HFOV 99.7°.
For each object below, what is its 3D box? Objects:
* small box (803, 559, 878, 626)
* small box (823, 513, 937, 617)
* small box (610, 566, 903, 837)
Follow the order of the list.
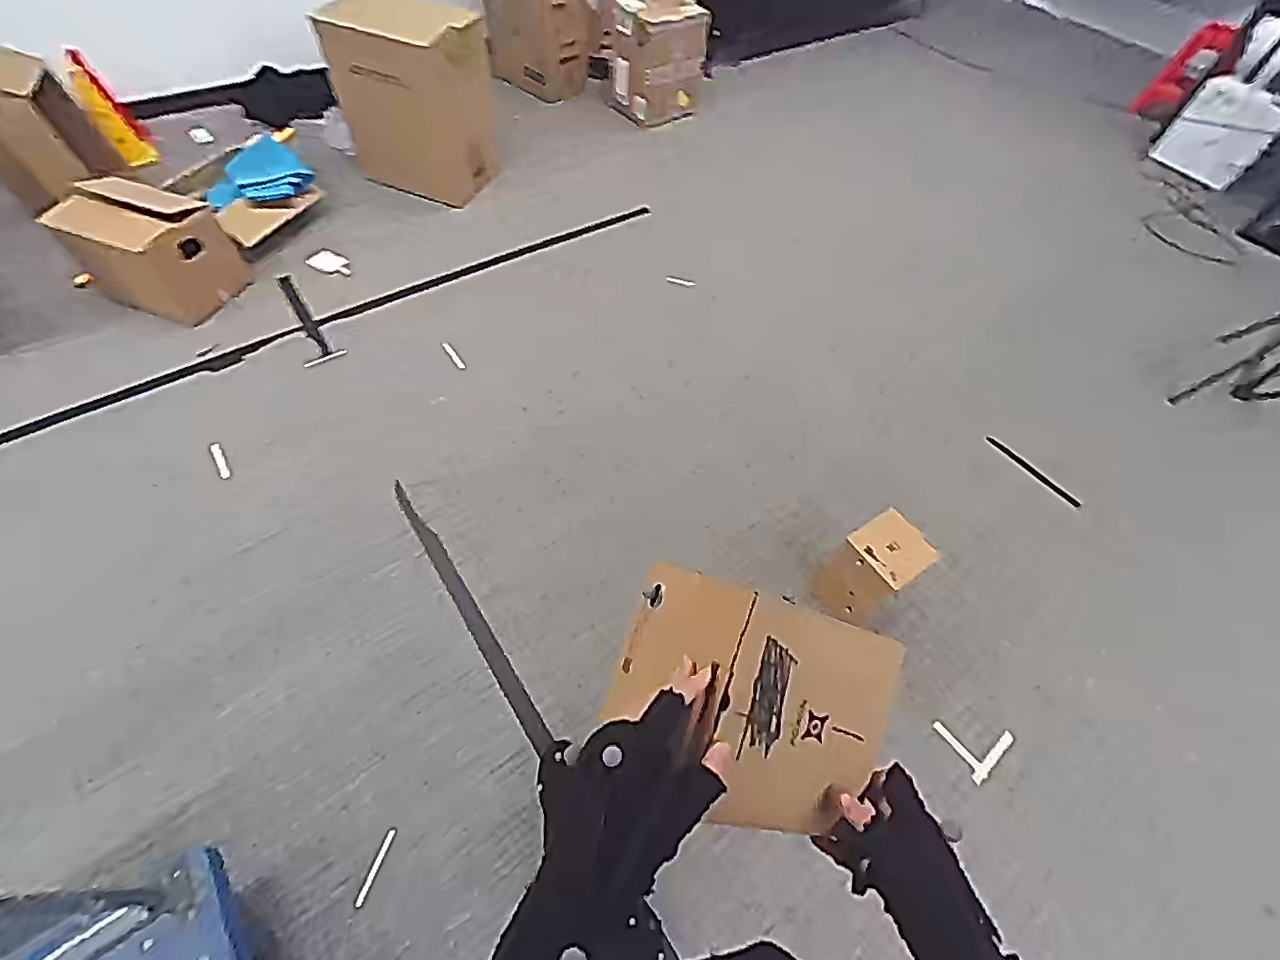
[{"bbox_3d":[0.601,0.300,1.538,0.168,0.176,0.179,-33,64,-25],"label":"small box"},{"bbox_3d":[0.608,0.221,1.394,0.179,0.176,0.168,-26,62,-22],"label":"small box"},{"bbox_3d":[0.096,0.186,0.496,0.179,0.176,0.168,25,81,-25],"label":"small box"}]
